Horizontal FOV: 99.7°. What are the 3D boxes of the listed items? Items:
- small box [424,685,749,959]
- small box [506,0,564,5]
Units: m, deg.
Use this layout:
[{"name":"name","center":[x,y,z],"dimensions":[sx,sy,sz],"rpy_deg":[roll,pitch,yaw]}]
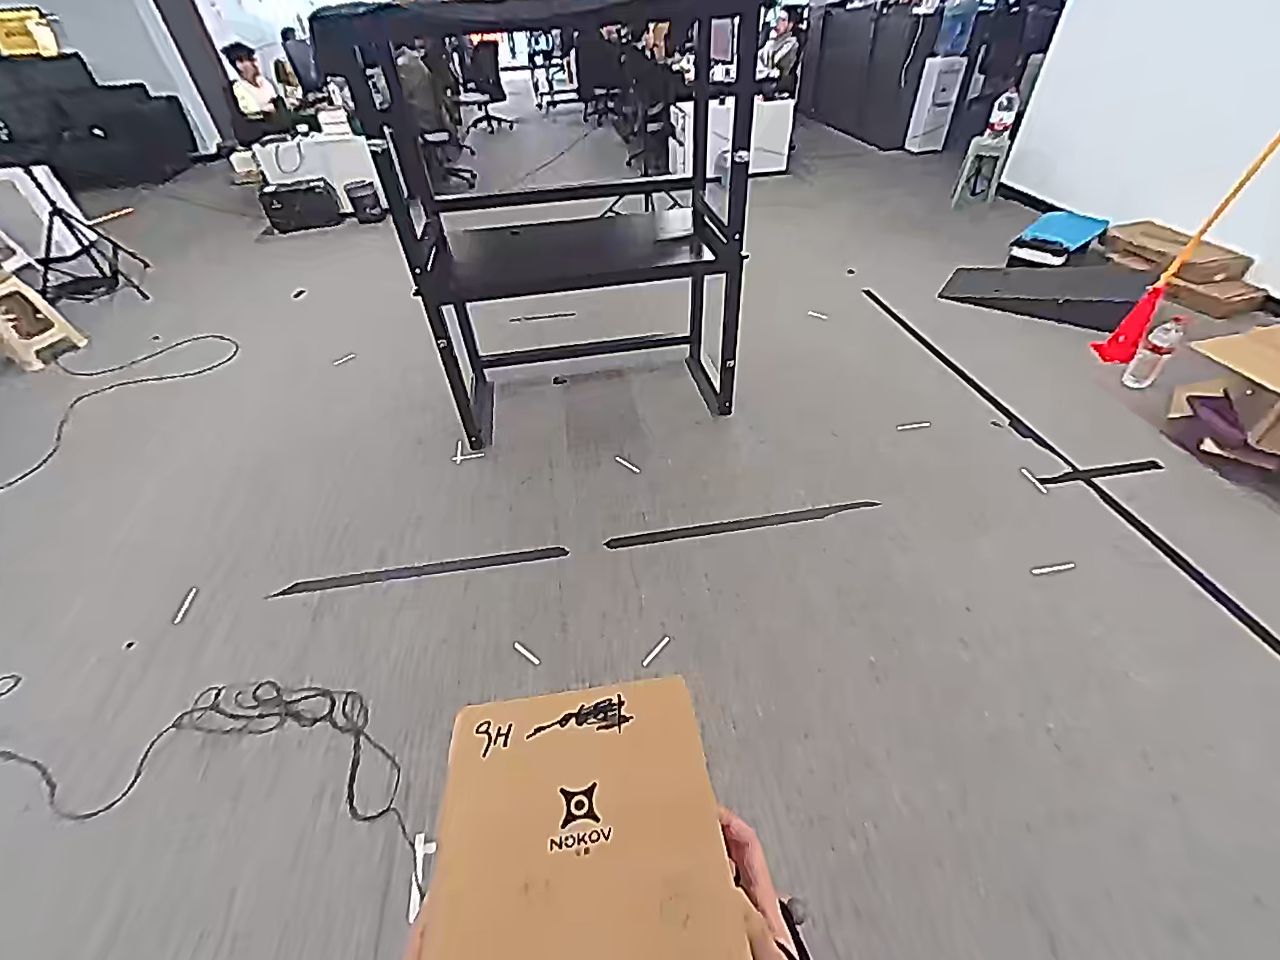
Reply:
[{"name":"small box","center":[-0.031,0.271,0.363],"dimensions":[0.168,0.176,0.179],"rpy_deg":[-6,37,-6]},{"name":"small box","center":[-0.291,-1.394,1.455],"dimensions":[0.168,0.176,0.179],"rpy_deg":[-7,42,-3]}]
